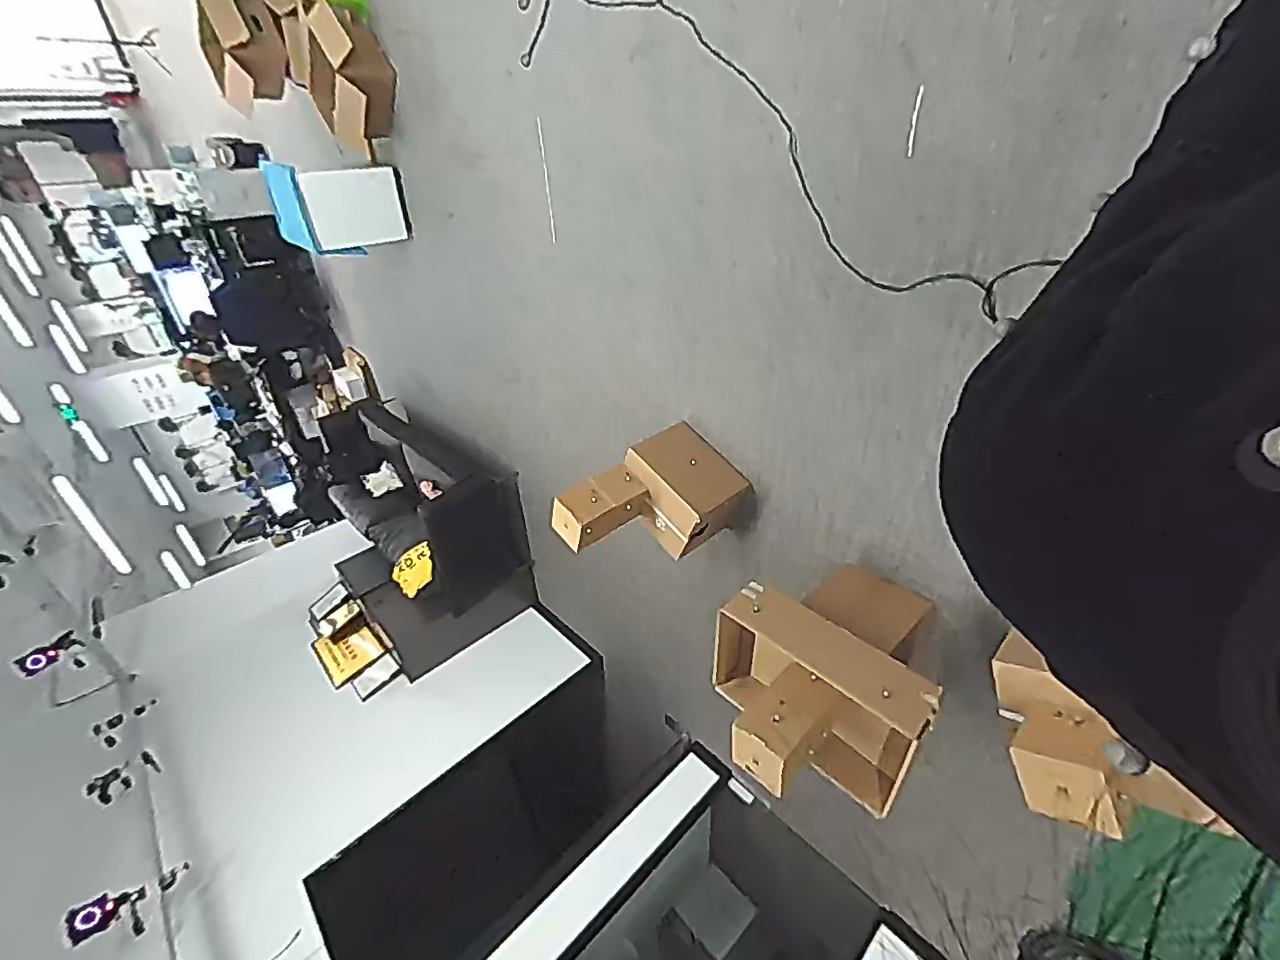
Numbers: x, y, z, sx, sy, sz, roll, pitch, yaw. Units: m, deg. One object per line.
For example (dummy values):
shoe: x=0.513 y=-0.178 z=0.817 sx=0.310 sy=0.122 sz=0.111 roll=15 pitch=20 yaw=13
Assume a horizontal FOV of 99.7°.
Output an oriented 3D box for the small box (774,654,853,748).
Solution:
small box: x=0.513 y=0.663 z=1.614 sx=0.168 sy=0.176 sz=0.179 roll=27 pitch=132 yaw=39

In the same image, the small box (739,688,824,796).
small box: x=0.396 y=0.727 z=1.518 sx=0.168 sy=0.176 sz=0.179 roll=25 pitch=131 yaw=41

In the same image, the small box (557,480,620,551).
small box: x=-0.197 y=0.134 z=2.068 sx=0.168 sy=0.176 sz=0.179 roll=43 pitch=142 yaw=25
